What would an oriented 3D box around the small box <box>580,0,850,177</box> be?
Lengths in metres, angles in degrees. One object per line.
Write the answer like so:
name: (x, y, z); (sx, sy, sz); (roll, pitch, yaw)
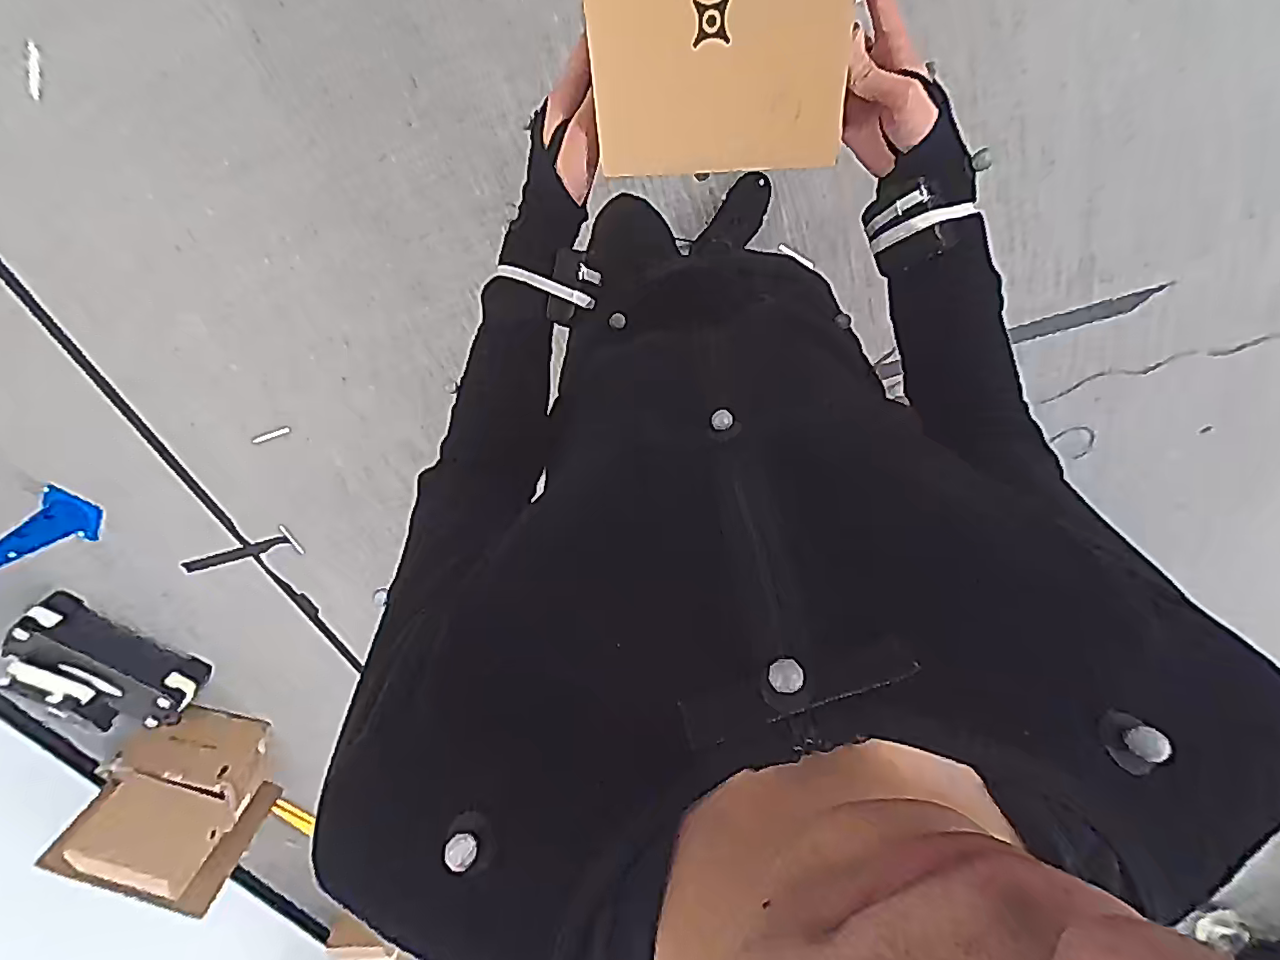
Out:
small box: (0.063, -0.335, 0.389); (0.168, 0.176, 0.179); (5, 128, 16)
